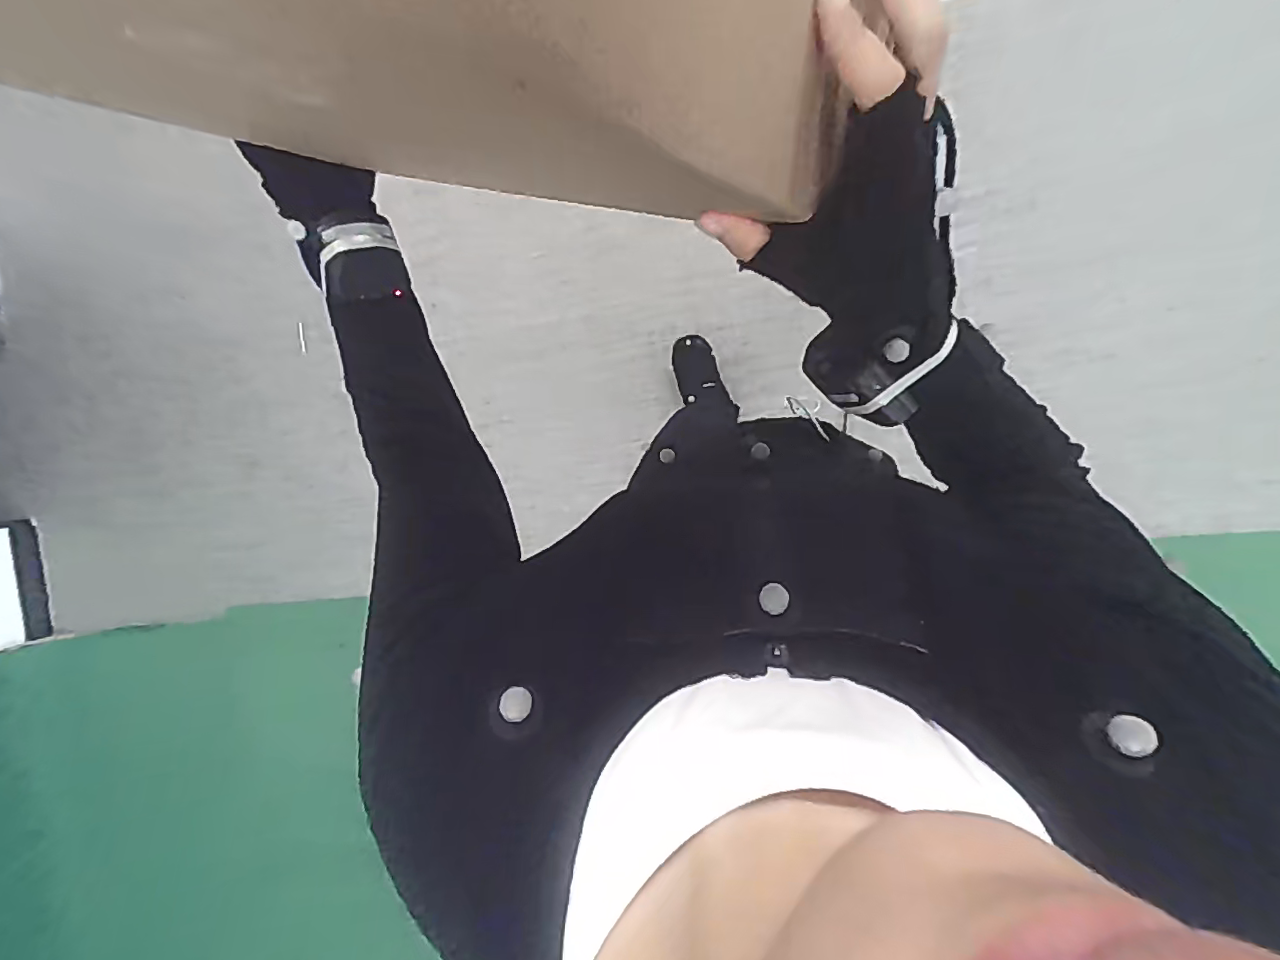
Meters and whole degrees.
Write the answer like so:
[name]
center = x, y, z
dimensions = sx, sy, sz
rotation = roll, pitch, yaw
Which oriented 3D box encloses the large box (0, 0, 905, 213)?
[large box]
center = -0.105, -0.314, 0.212
dimensions = 0.408, 0.320, 0.320
rotation = 22, 116, 27
